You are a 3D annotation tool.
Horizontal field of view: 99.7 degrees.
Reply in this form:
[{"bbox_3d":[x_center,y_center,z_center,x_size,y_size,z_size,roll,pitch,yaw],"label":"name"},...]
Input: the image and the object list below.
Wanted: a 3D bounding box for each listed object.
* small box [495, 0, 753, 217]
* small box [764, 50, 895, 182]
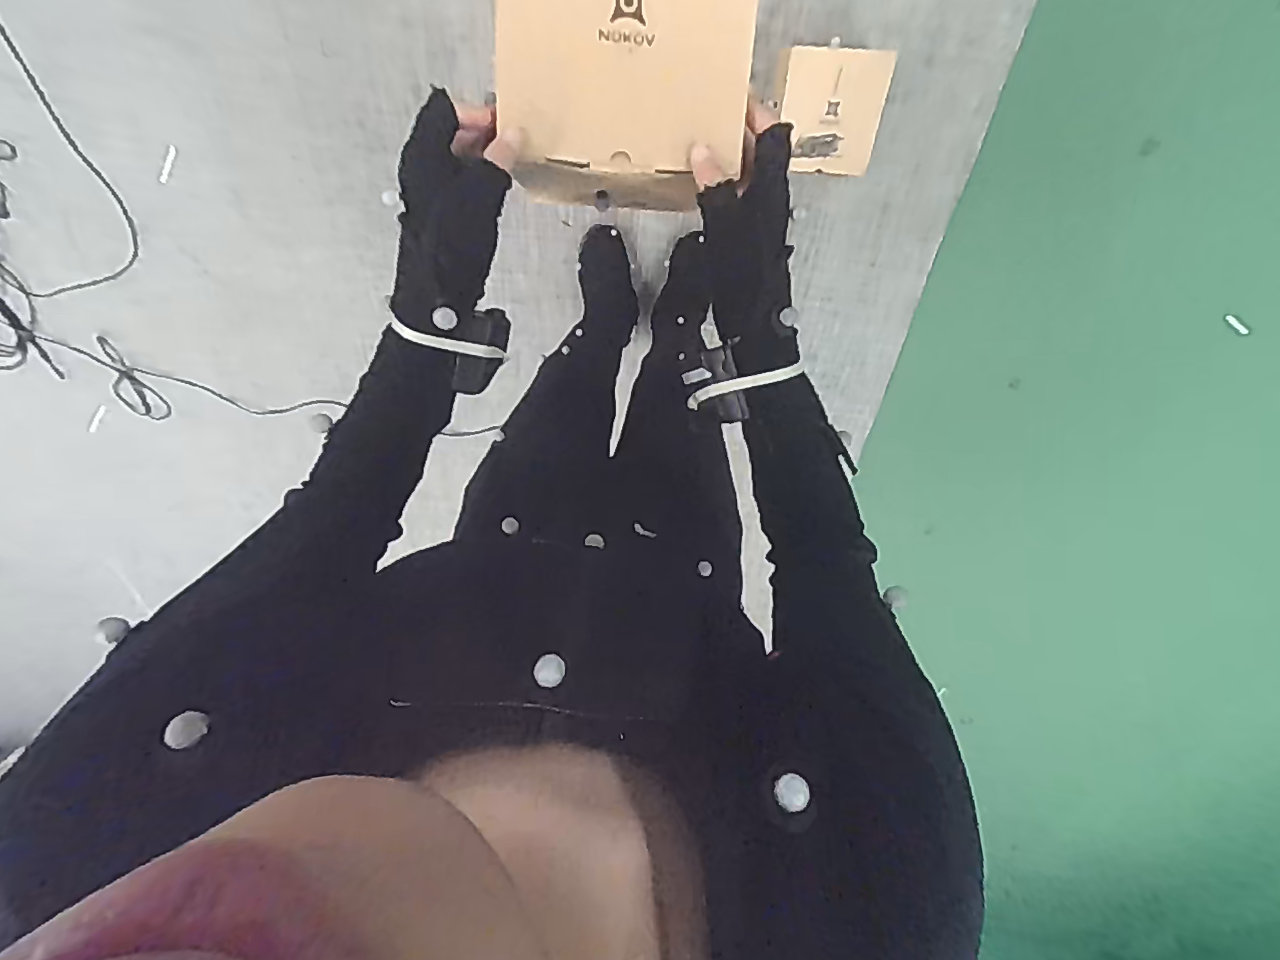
[{"bbox_3d":[-0.016,-0.318,0.419,0.168,0.176,0.179,2,109,-4],"label":"small box"},{"bbox_3d":[0.319,-0.643,0.954,0.168,0.176,0.179,5,127,2],"label":"small box"}]
